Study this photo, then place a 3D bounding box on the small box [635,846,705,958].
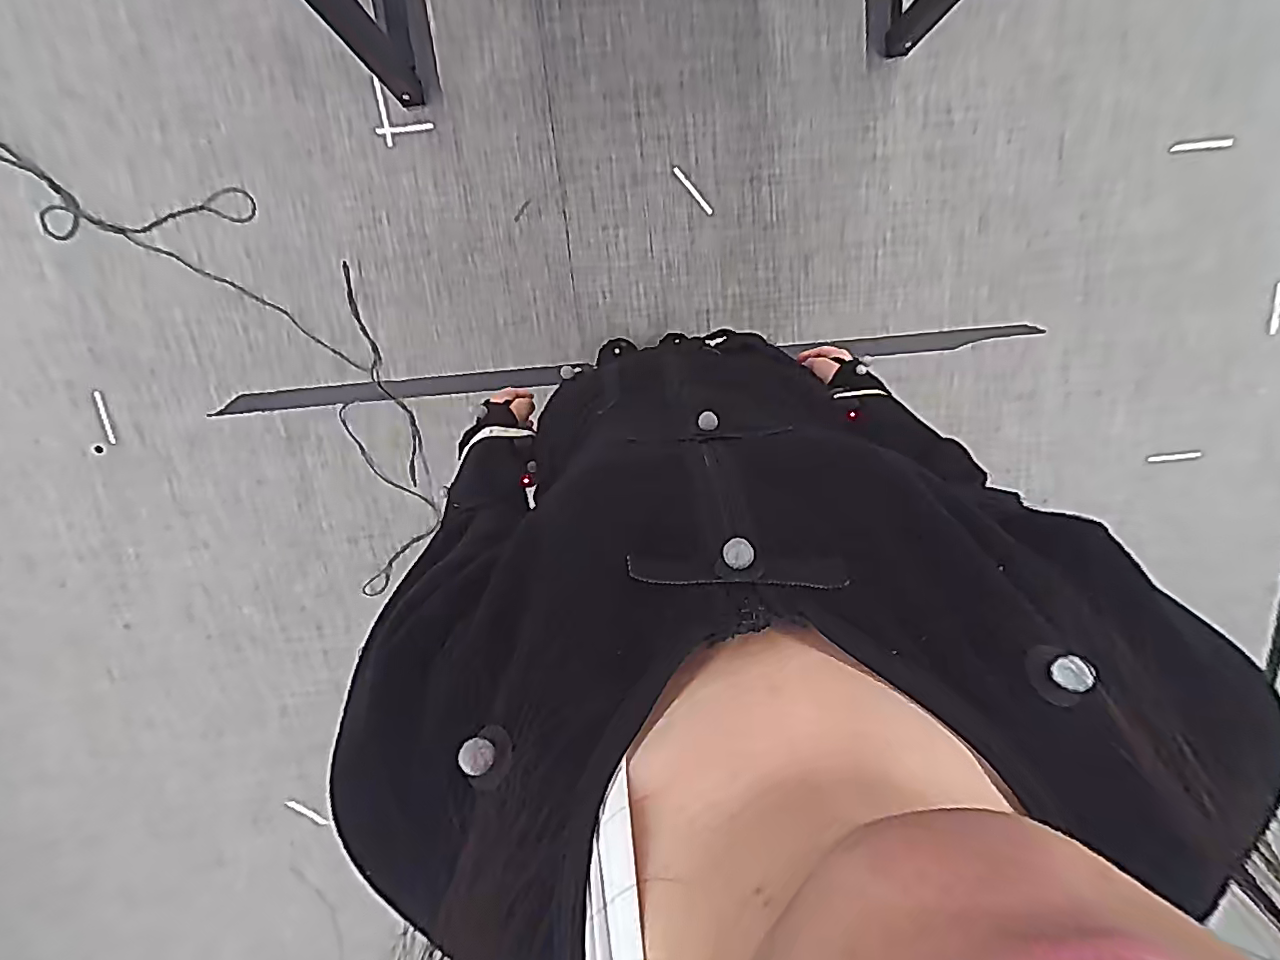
[{"bbox_3d":[0.081,1.180,1.520,0.168,0.176,0.179,-10,105,0],"label":"small box"}]
